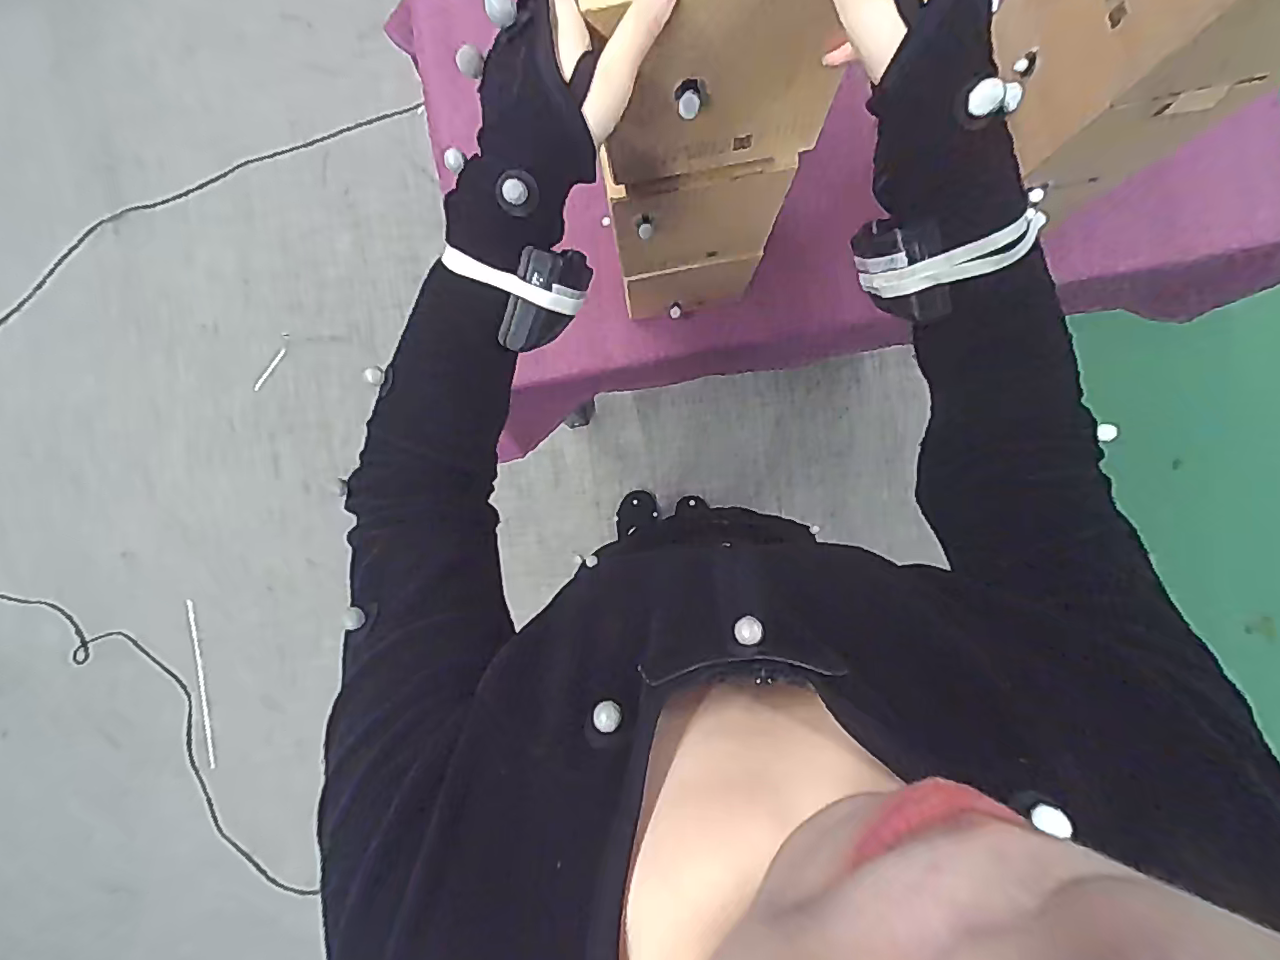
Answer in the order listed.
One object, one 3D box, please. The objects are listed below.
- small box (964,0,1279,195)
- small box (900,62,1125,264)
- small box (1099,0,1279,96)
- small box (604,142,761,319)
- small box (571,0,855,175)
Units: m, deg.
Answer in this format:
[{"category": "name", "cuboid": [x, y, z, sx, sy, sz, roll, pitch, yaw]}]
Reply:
[{"category": "small box", "cuboid": [0.460, -0.412, 0.538, 0.168, 0.176, 0.179, -11, 89, 1]}, {"category": "small box", "cuboid": [0.462, -0.410, 0.702, 0.168, 0.176, 0.179, -10, 89, 2]}, {"category": "small box", "cuboid": [0.459, -0.408, 0.373, 0.179, 0.176, 0.168, -10, 91, 1]}, {"category": "small box", "cuboid": [0.050, -0.332, 0.712, 0.168, 0.176, 0.179, -9, 90, 2]}, {"category": "small box", "cuboid": [0.041, -0.337, 0.367, 0.168, 0.176, 0.179, -9, 87, 4]}]
